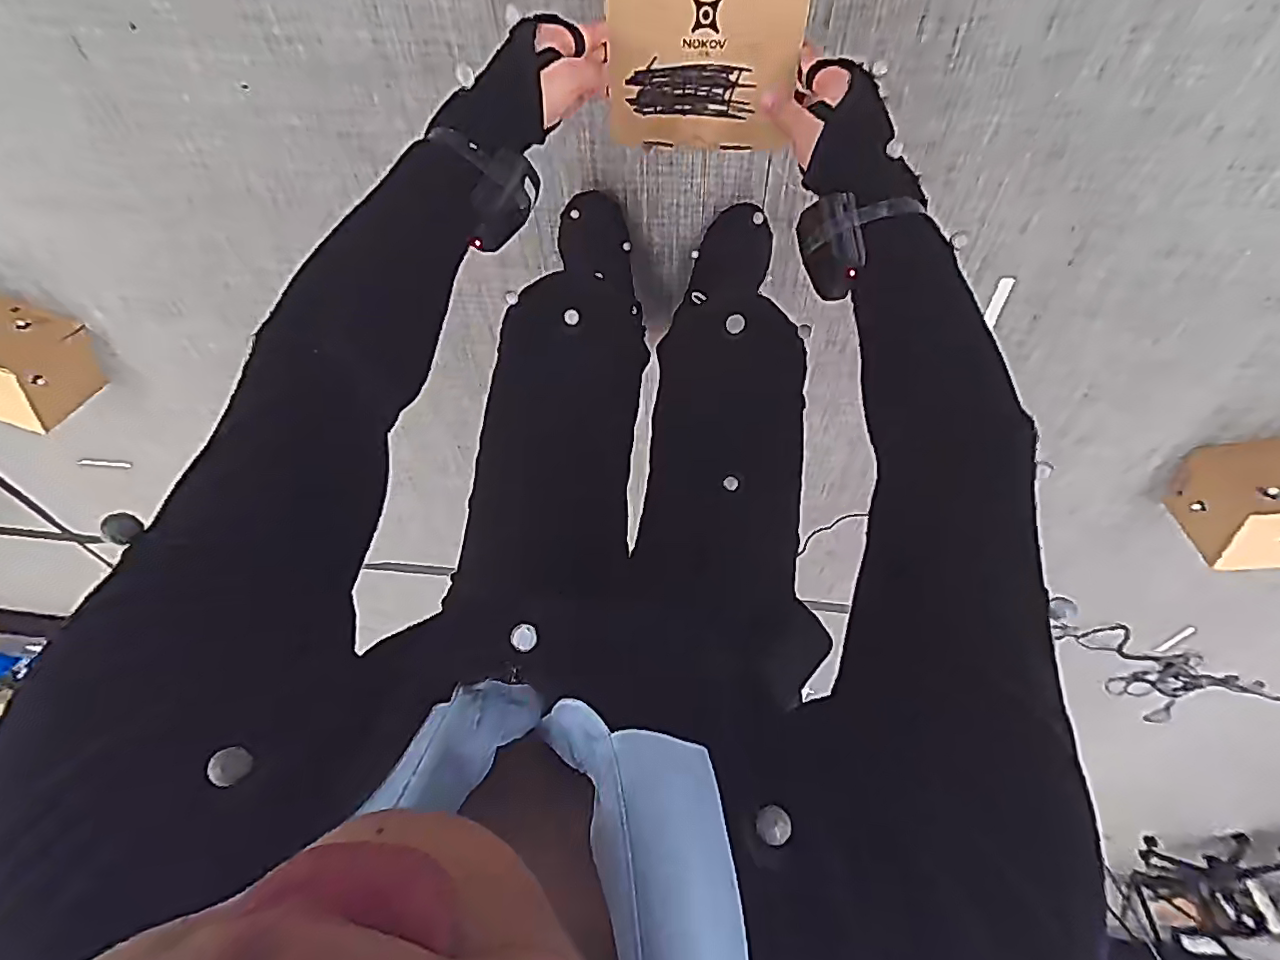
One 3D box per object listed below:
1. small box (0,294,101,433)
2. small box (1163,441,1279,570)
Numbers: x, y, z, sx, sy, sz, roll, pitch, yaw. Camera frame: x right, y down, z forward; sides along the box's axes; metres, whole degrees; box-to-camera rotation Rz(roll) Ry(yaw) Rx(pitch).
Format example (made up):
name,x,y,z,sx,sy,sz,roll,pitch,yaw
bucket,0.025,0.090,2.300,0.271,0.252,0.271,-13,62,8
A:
name,x,y,z,sx,sy,sz,roll,pitch,yaw
small box,-1.240,-0.231,1.074,0.168,0.176,0.179,21,136,-13
small box,1.131,0.046,0.995,0.179,0.176,0.168,-8,135,16
